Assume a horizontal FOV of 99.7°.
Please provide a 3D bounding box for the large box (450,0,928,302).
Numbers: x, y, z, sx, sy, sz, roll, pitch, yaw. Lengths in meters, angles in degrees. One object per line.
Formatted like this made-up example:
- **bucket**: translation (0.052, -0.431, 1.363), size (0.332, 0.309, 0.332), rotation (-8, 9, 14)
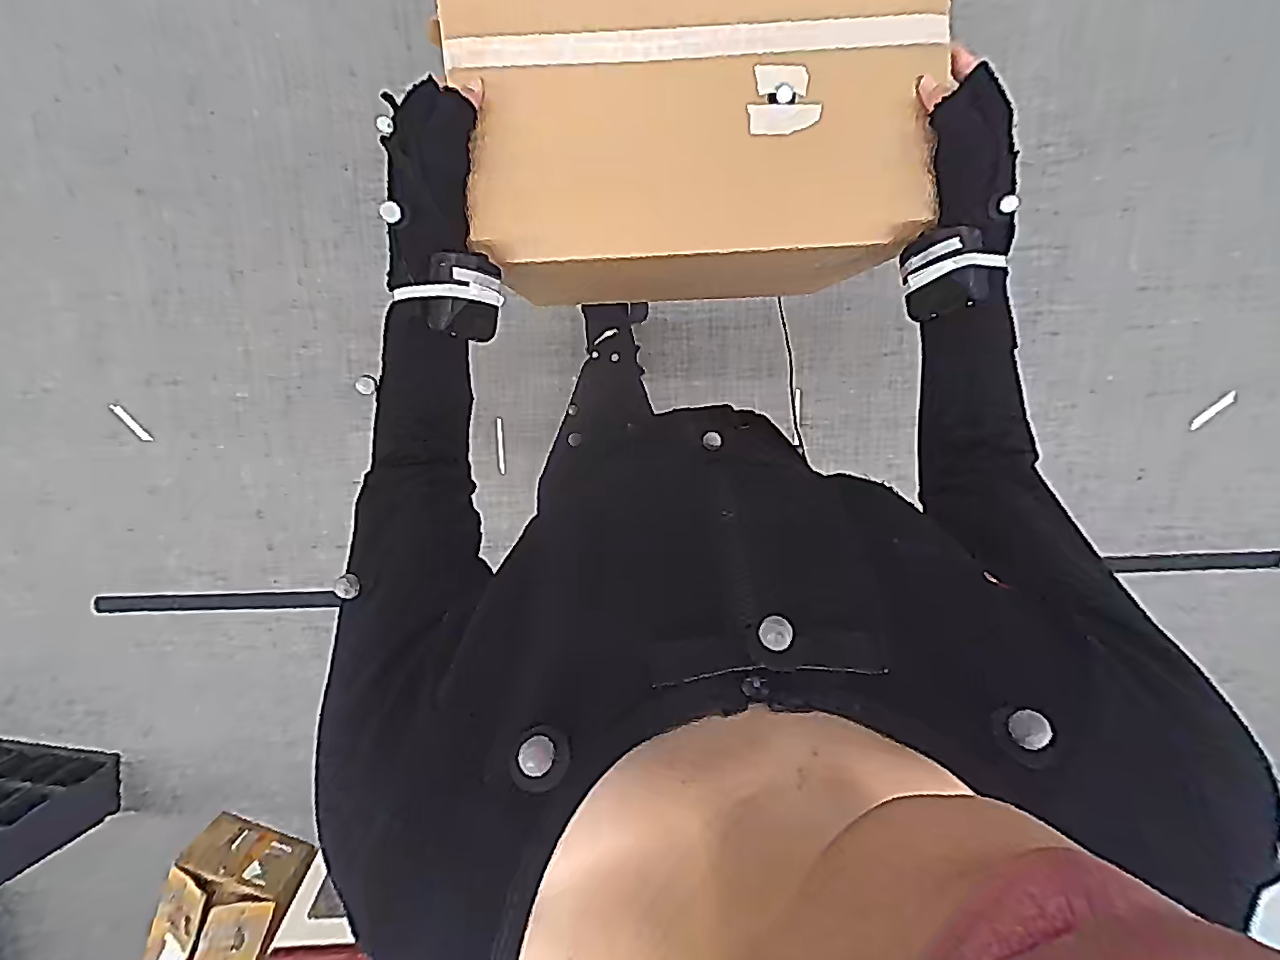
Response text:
- **large box**: translation (0.038, -0.389, 0.600), size (0.408, 0.320, 0.320), rotation (-4, 102, -1)
